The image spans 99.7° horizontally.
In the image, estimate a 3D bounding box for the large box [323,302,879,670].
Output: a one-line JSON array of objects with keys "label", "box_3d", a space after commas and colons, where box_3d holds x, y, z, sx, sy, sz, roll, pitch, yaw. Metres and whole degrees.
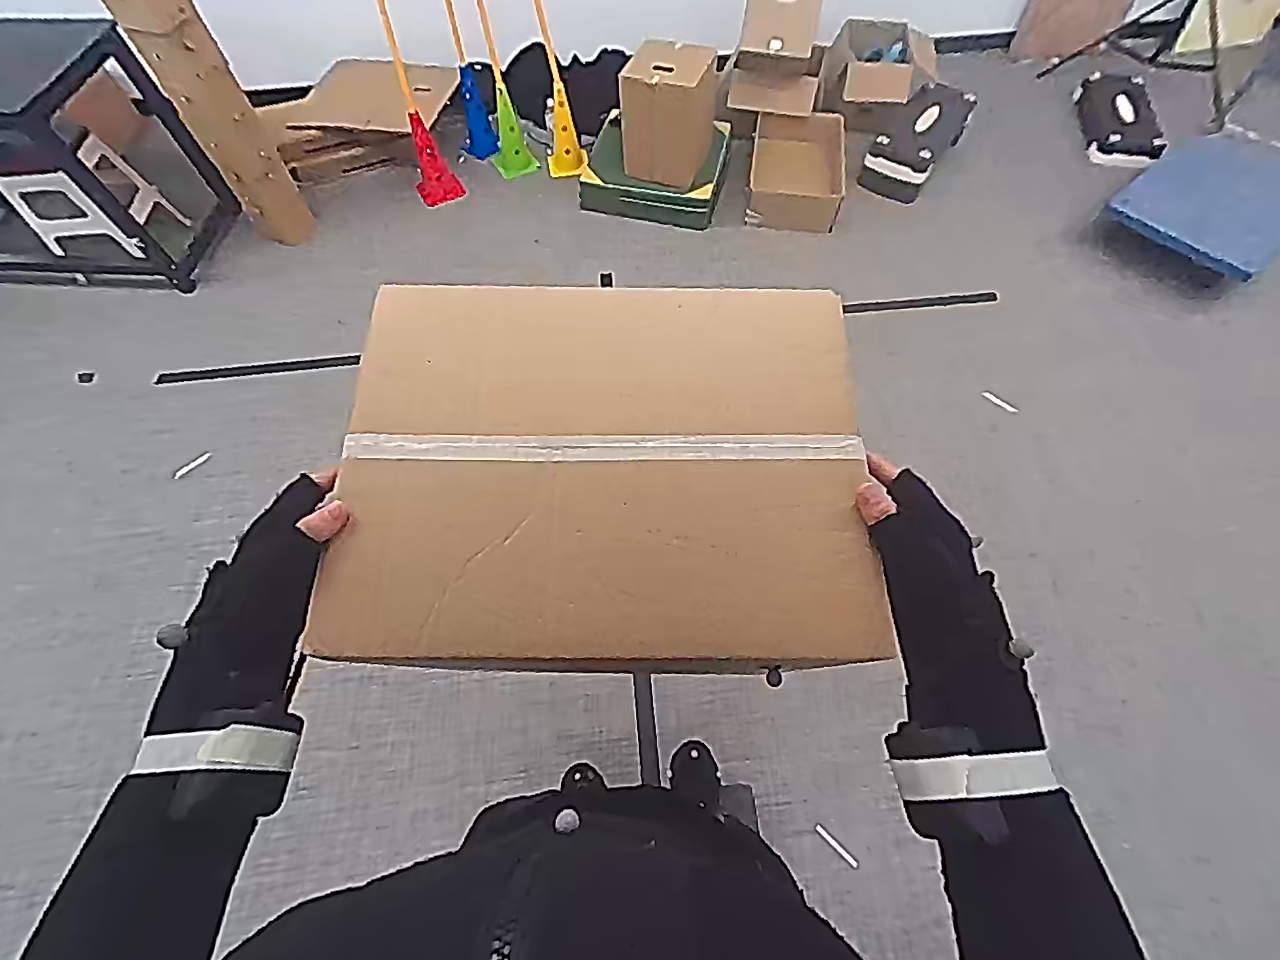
[{"label": "large box", "box_3d": [-0.028, 0.036, 0.573, 0.408, 0.320, 0.320, 1, 69, -1]}]

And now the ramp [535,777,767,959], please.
[{"label": "ramp", "box_3d": [0.049, 1.188, 1.109, 0.509, 0.206, 0.991, -6, 62, -5]}]
